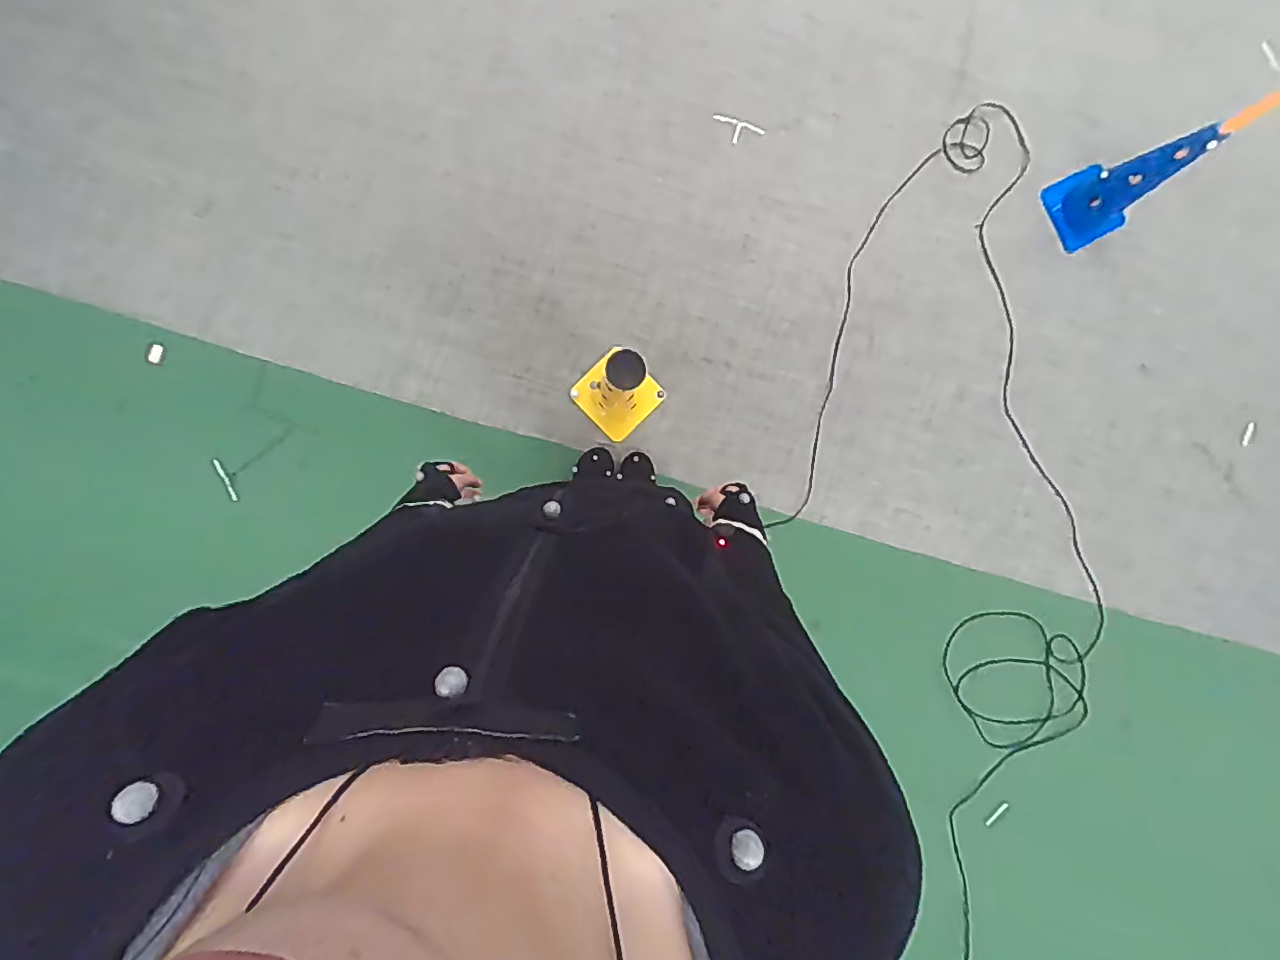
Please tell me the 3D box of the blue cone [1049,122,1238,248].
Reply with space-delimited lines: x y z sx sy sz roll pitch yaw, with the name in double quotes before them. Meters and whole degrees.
"blue cone" 1.279 -0.778 1.370 0.193 0.380 0.192 -29 93 -4
